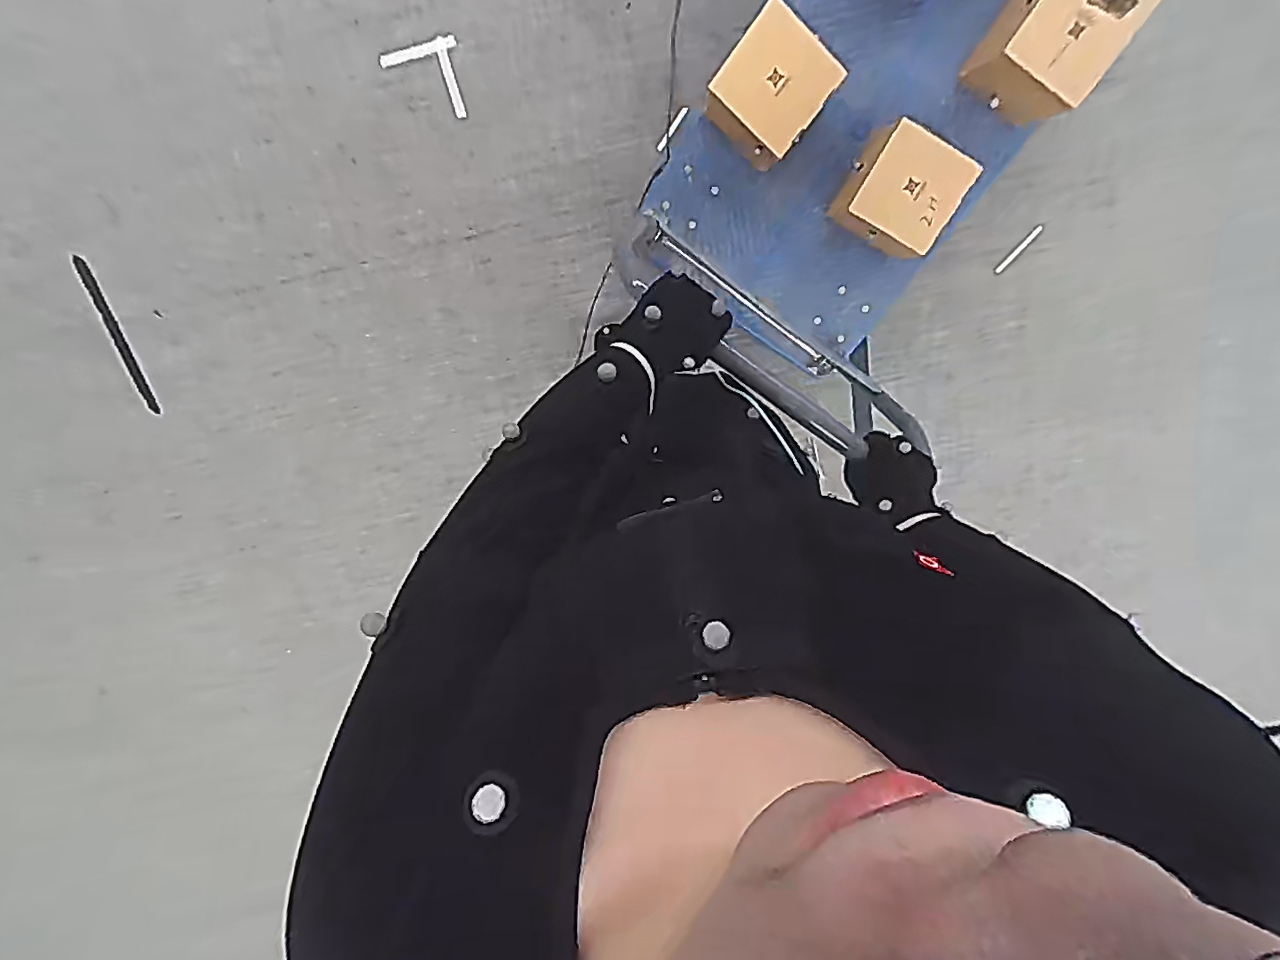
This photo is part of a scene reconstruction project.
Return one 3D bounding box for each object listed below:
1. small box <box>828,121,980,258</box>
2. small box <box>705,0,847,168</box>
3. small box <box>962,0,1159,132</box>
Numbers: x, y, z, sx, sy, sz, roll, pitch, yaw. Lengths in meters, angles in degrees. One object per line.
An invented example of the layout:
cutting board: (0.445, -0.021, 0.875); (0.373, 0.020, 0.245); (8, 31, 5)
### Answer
small box: (0.494, -0.546, 1.045); (0.179, 0.176, 0.168); (28, 112, -8)
small box: (0.236, -0.707, 0.992); (0.179, 0.176, 0.168); (38, 109, -14)
small box: (0.715, -0.754, 0.946); (0.168, 0.176, 0.179); (30, 112, -9)
